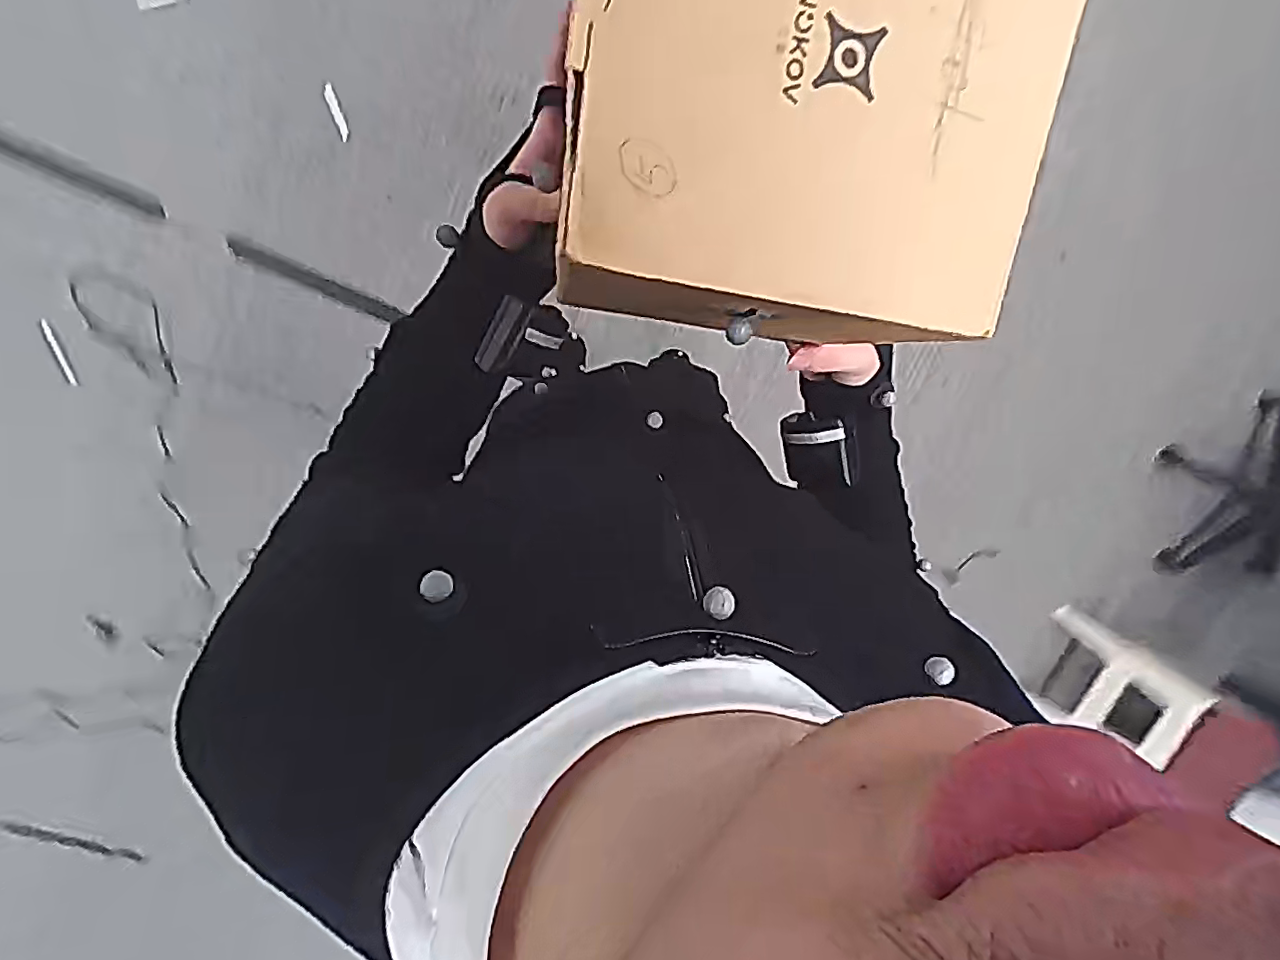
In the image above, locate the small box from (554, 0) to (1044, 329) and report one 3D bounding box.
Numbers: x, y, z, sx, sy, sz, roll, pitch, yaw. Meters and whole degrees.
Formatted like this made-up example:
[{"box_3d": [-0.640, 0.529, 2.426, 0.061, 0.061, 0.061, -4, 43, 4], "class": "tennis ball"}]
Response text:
[{"box_3d": [0.052, -0.172, 0.274, 0.179, 0.176, 0.168, 5, 103, -11], "class": "small box"}]
